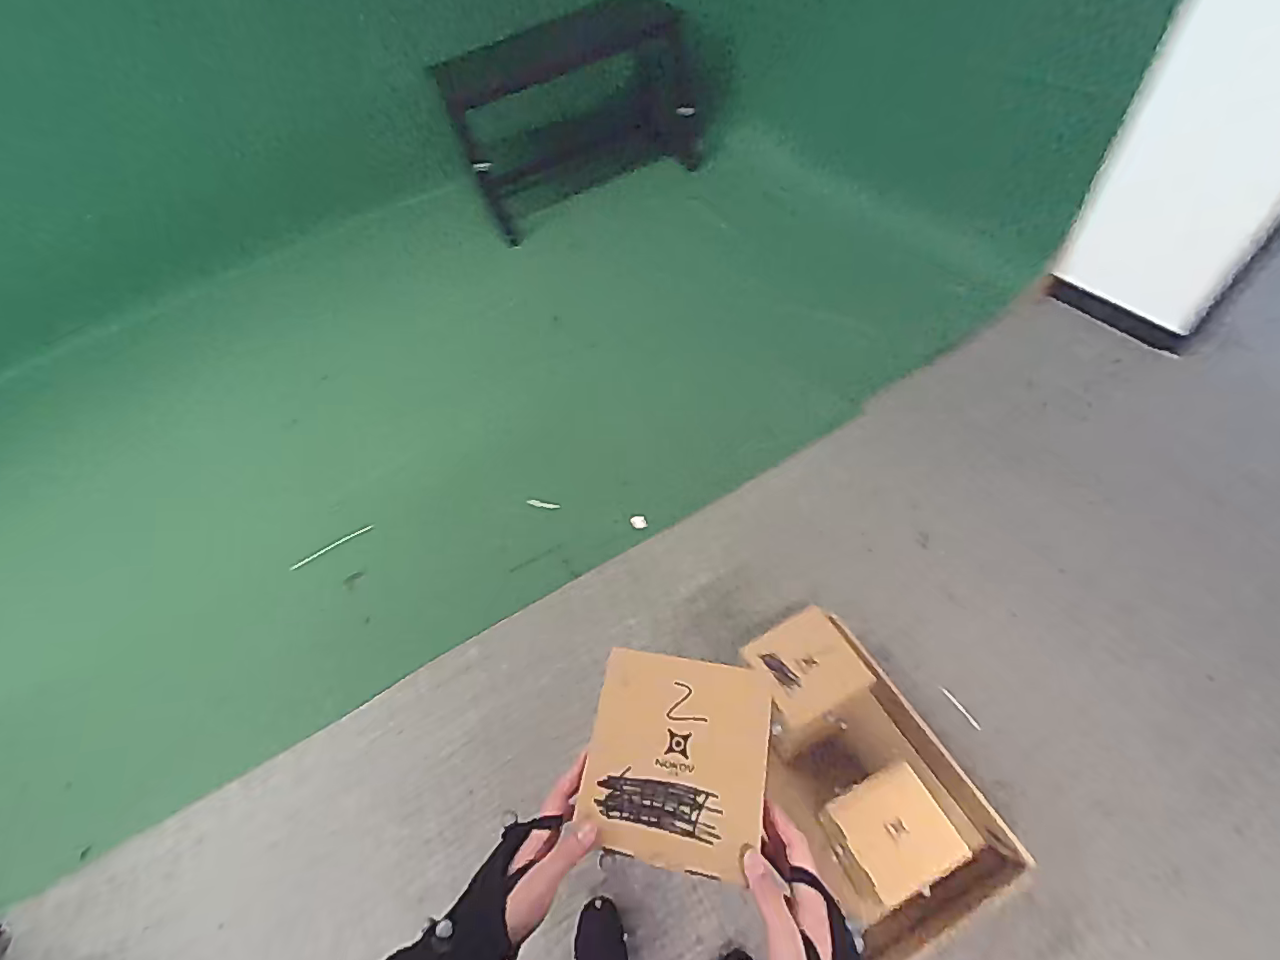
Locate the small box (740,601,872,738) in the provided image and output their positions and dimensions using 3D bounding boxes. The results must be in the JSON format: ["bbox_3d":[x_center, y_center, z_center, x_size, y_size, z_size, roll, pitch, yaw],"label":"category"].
[{"bbox_3d":[0.311,0.371,1.043,0.179,0.176,0.168,-27,55,-8],"label":"small box"}]

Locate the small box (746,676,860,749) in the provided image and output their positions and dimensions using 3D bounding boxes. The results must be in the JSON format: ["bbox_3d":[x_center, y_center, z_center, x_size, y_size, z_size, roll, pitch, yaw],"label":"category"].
[{"bbox_3d":[0.342,0.460,1.178,0.179,0.176,0.168,-26,56,-6],"label":"small box"}]

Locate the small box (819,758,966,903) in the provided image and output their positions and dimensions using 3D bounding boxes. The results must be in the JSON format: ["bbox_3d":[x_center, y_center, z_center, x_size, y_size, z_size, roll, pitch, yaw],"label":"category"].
[{"bbox_3d":[0.461,0.655,1.020,0.179,0.176,0.168,-27,55,-6],"label":"small box"}]

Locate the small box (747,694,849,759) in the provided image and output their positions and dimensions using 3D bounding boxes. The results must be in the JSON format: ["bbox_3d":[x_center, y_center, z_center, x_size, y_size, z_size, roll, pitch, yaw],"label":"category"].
[{"bbox_3d":[0.371,0.549,1.310,0.179,0.176,0.168,-25,54,-7],"label":"small box"}]
